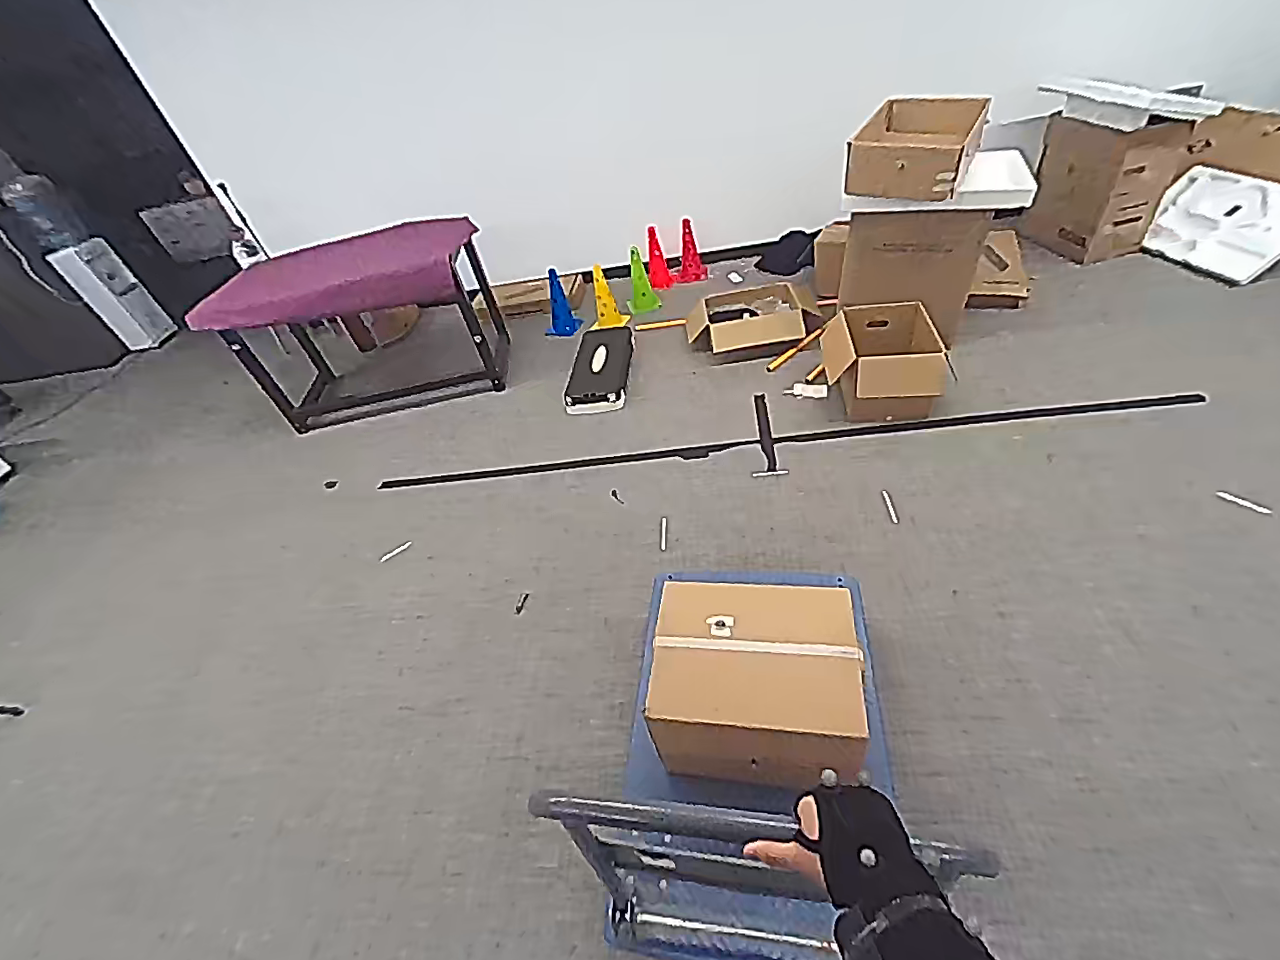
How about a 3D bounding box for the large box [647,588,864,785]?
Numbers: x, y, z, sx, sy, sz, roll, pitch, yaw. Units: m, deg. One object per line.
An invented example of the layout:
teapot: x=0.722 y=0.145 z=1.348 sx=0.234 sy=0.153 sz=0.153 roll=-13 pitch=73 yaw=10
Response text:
large box: x=0.255 y=0.456 z=1.206 sx=0.408 sy=0.320 sz=0.320 roll=-2 pitch=43 yaw=14
